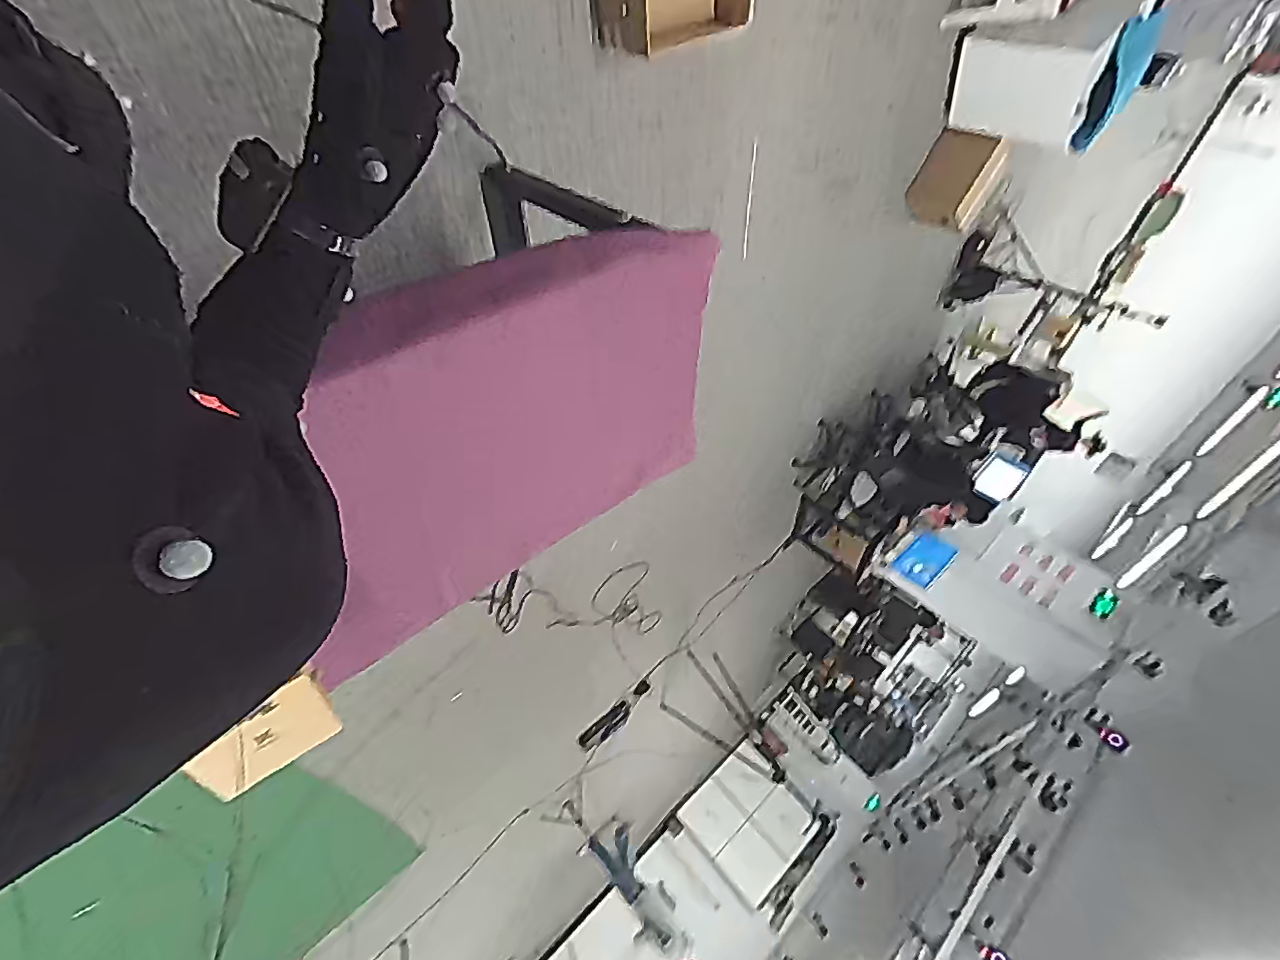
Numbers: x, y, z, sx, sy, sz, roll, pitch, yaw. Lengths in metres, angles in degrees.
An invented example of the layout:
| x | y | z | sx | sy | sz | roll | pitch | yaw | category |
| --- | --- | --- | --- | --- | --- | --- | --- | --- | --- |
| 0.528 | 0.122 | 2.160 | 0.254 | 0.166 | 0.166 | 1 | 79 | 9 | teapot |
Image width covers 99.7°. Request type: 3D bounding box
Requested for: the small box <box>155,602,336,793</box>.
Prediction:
| x | y | z | sx | sy | sz | roll | pitch | yaw | category |
| --- | --- | --- | --- | --- | --- | --- | --- | --- | --- |
| -0.596 | 0.320 | 0.813 | 0.168 | 0.176 | 0.179 | -30 | 144 | -32 | small box |
